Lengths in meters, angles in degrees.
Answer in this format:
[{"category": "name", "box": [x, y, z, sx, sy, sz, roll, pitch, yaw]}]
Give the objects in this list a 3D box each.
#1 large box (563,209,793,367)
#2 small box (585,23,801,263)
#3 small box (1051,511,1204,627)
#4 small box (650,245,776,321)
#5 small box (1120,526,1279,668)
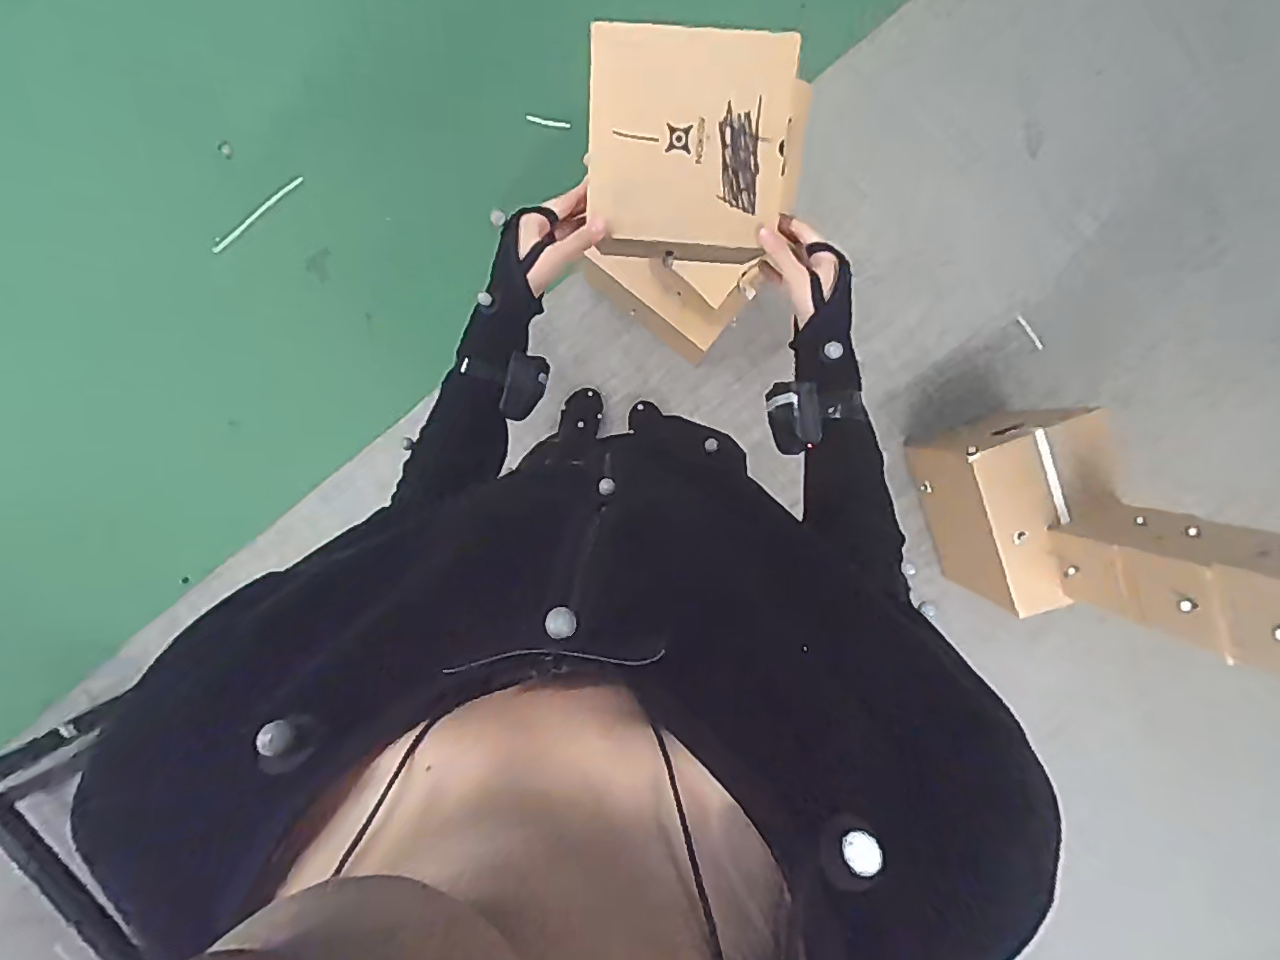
[{"category": "large box", "box": [0.087, -0.525, 1.304, 0.408, 0.320, 0.320, 38, 95, -1]}, {"category": "small box", "box": [0.042, -0.315, 0.543, 0.179, 0.176, 0.168, 4, 108, 0]}, {"category": "small box", "box": [1.003, 0.172, 1.109, 0.179, 0.176, 0.168, -19, 95, 2]}, {"category": "small box", "box": [0.136, -0.434, 1.065, 0.179, 0.176, 0.168, 43, 96, -3]}, {"category": "small box", "box": [1.006, 0.196, 0.949, 0.168, 0.176, 0.179, -17, 95, 1]}]
